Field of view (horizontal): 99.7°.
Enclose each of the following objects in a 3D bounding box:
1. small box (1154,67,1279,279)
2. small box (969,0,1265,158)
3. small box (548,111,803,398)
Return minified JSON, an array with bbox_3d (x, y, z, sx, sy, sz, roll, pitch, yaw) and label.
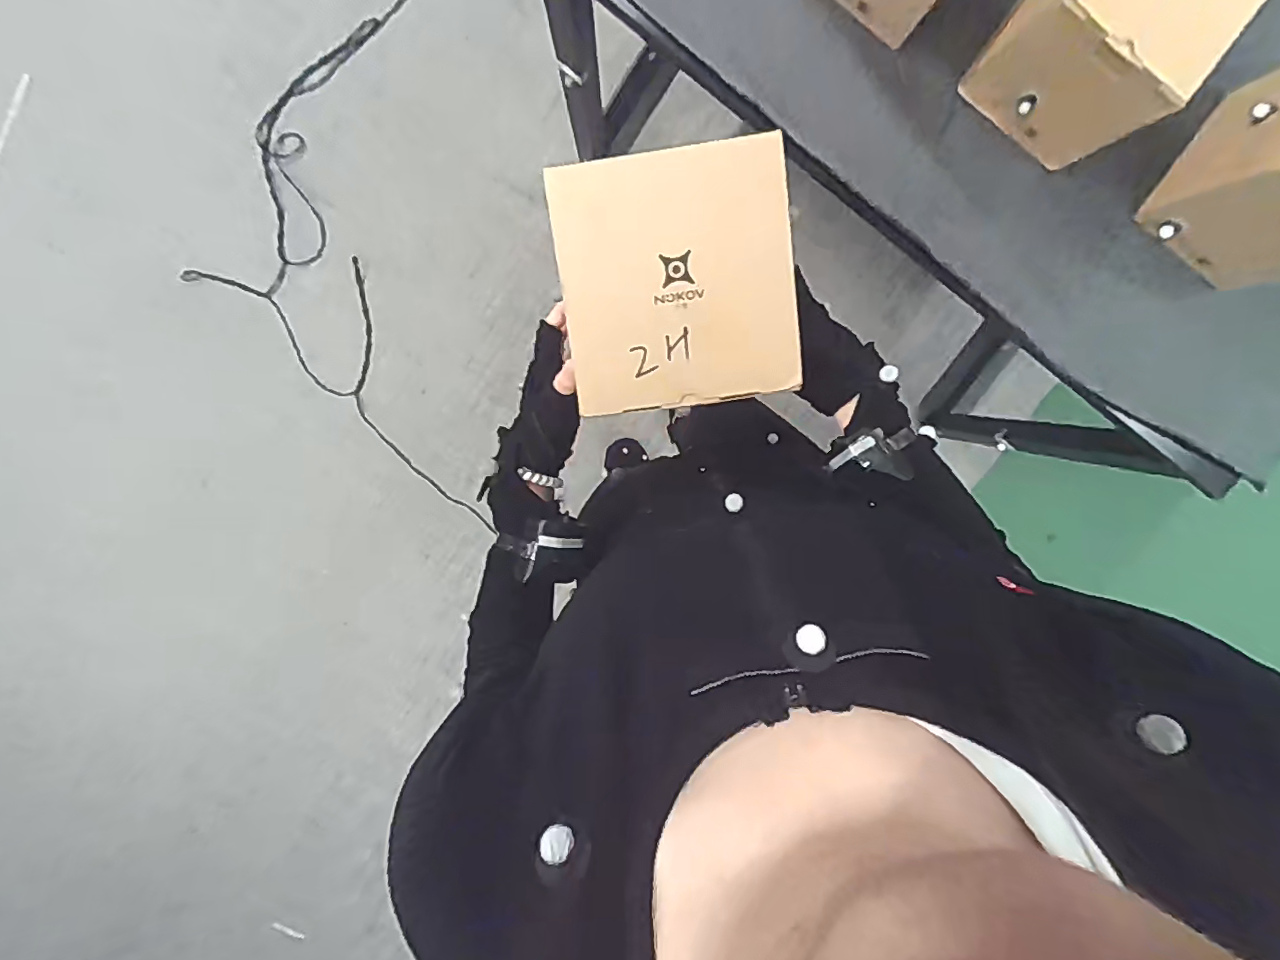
[{"bbox_3d":[0.748,-0.354,0.606,0.168,0.176,0.179,33,97,-7],"label":"small box"},{"bbox_3d":[0.505,-0.496,0.577,0.168,0.176,0.179,33,99,-7],"label":"small box"},{"bbox_3d":[0.029,-0.166,0.455,0.168,0.176,0.179,-7,101,4],"label":"small box"}]
